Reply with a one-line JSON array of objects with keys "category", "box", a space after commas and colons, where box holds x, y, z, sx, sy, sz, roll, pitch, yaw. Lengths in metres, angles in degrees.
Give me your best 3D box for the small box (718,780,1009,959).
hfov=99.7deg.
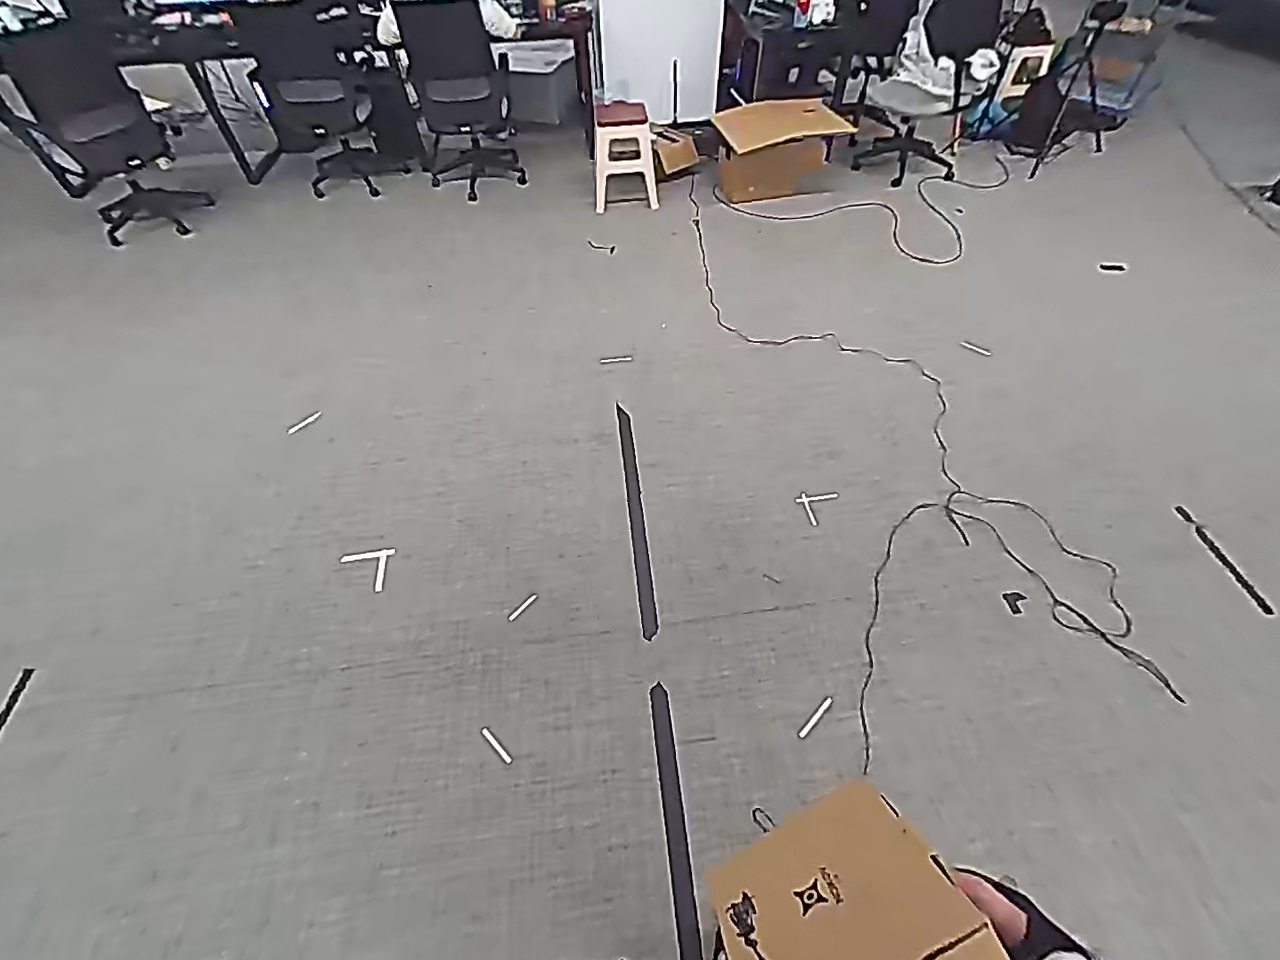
[{"category": "small box", "box": [0.192, 0.401, 0.439, 0.179, 0.168, 0.176, -30, 92, -2]}]
